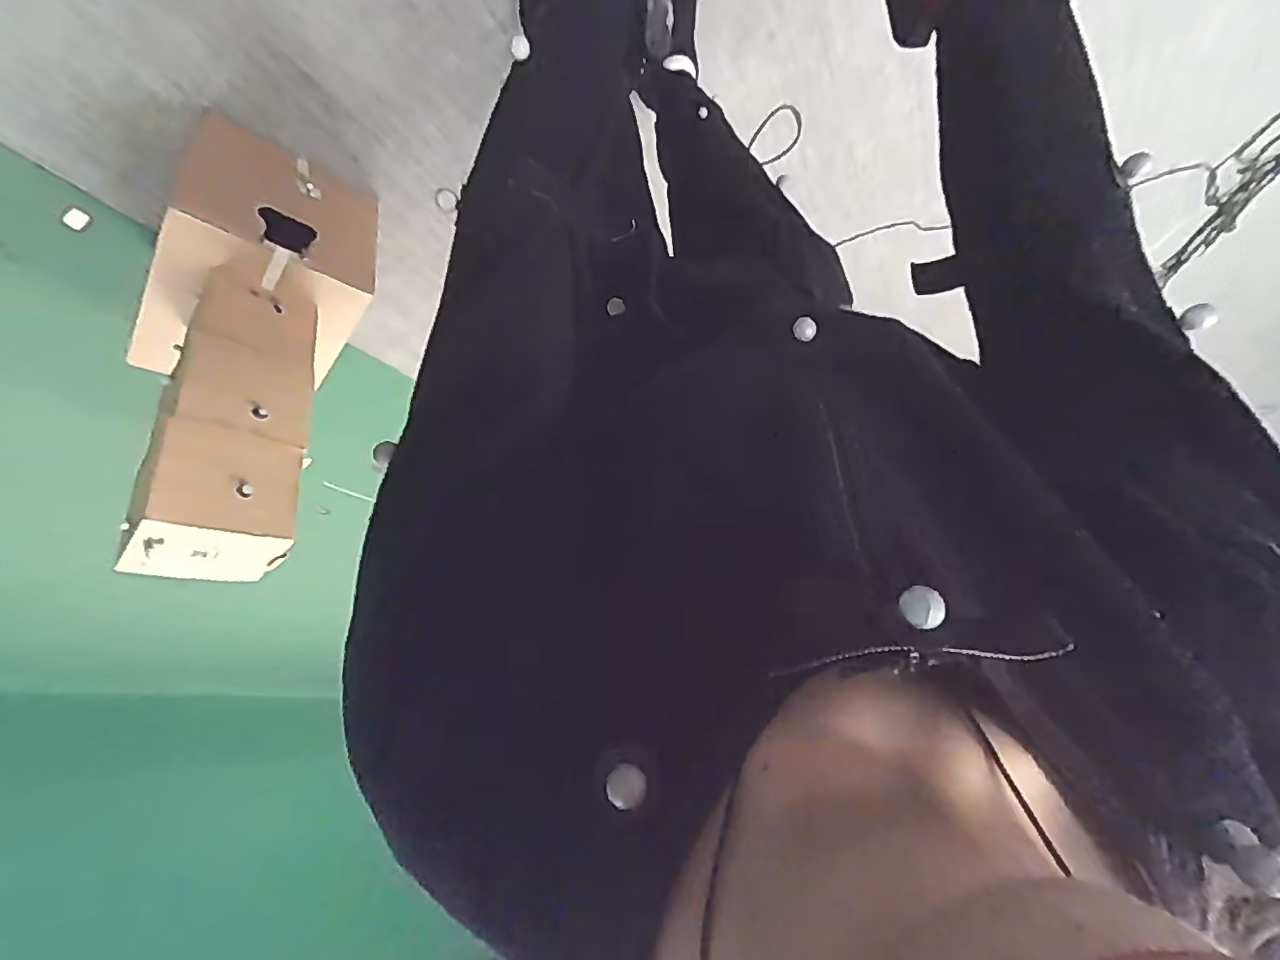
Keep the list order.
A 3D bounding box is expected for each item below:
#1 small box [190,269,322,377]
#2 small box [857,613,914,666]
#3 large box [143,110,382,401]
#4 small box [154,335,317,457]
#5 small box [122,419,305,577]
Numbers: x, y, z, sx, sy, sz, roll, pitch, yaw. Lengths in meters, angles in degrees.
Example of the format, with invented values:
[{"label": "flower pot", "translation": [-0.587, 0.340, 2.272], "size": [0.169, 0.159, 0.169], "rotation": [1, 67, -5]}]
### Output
[{"label": "small box", "translation": [-0.700, -0.239, 0.985], "size": [0.179, 0.176, 0.168], "rotation": [-34, 146, 31]}, {"label": "small box", "translation": [1.066, 0.692, 2.350], "size": [0.168, 0.176, 0.179], "rotation": [-26, 146, 20]}, {"label": "large box", "translation": [-0.769, -0.431, 1.123], "size": [0.320, 0.320, 0.408], "rotation": [18, 138, -41]}, {"label": "small box", "translation": [-0.661, -0.107, 0.895], "size": [0.168, 0.176, 0.179], "rotation": [-33, 146, 29]}, {"label": "small box", "translation": [-0.630, 0.032, 0.814], "size": [0.168, 0.176, 0.179], "rotation": [-34, 146, 30]}]
